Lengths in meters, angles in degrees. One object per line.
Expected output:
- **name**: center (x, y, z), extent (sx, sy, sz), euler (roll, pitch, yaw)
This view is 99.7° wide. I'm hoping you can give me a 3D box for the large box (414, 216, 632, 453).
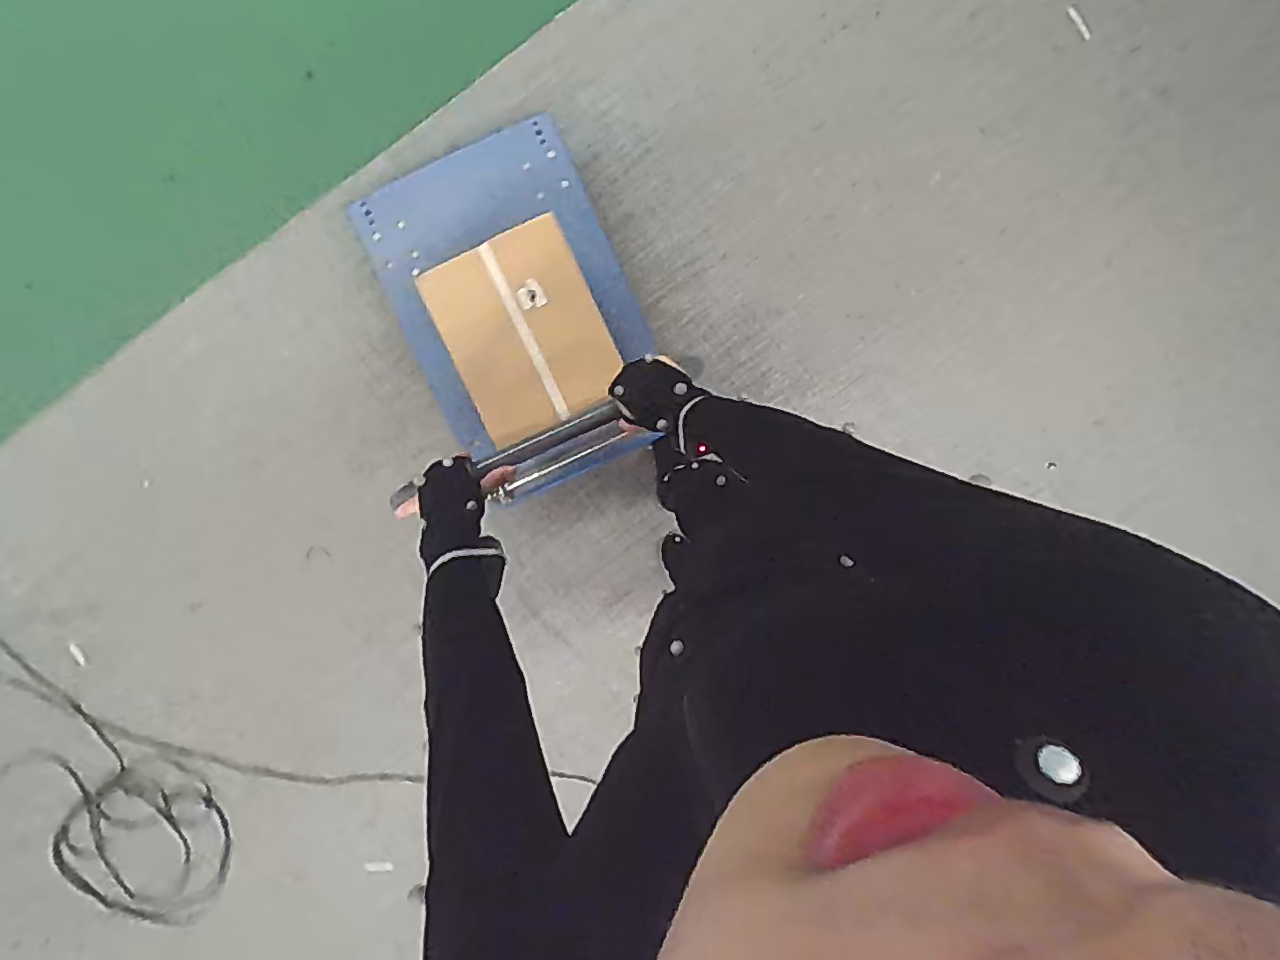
- **large box**: center (-0.241, -0.306, 1.262), extent (0.320, 0.320, 0.408), euler (-26, 92, 0)
